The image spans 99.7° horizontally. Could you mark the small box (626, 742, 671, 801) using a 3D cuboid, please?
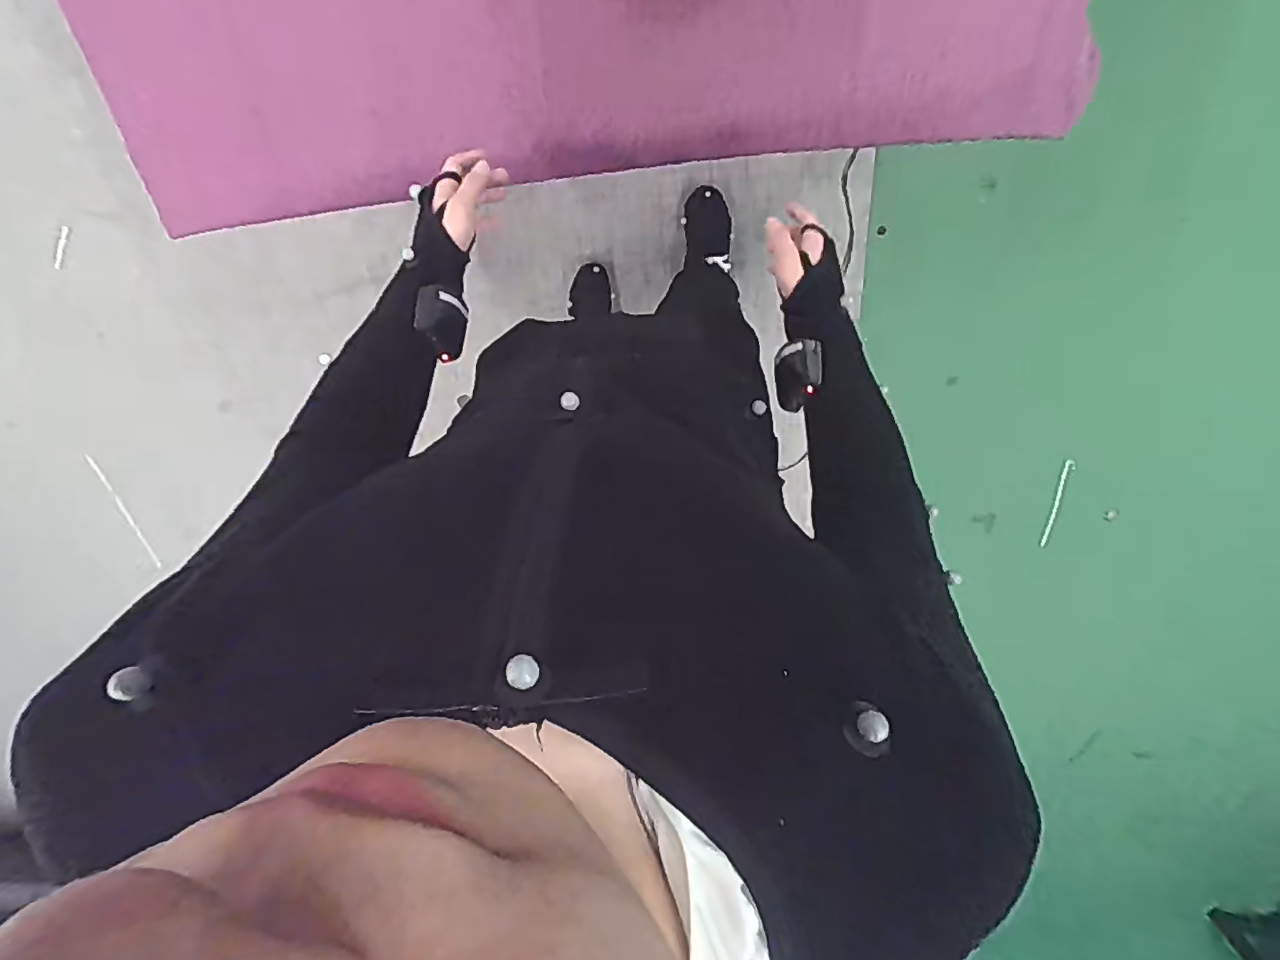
[{"bbox_3d":[0.041,1.248,2.318,0.179,0.176,0.168,-2,119,5],"label":"small box"}]

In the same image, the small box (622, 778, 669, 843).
[{"bbox_3d":[0.025,1.325,2.177,0.179,0.176,0.168,-2,118,4],"label":"small box"}]

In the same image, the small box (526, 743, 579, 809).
[{"bbox_3d":[-0.335,1.152,2.109,0.179,0.176,0.168,2,118,3],"label":"small box"}]

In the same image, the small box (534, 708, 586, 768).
[{"bbox_3d":[-0.327,1.072,2.252,0.179,0.176,0.168,-1,119,4],"label":"small box"}]
